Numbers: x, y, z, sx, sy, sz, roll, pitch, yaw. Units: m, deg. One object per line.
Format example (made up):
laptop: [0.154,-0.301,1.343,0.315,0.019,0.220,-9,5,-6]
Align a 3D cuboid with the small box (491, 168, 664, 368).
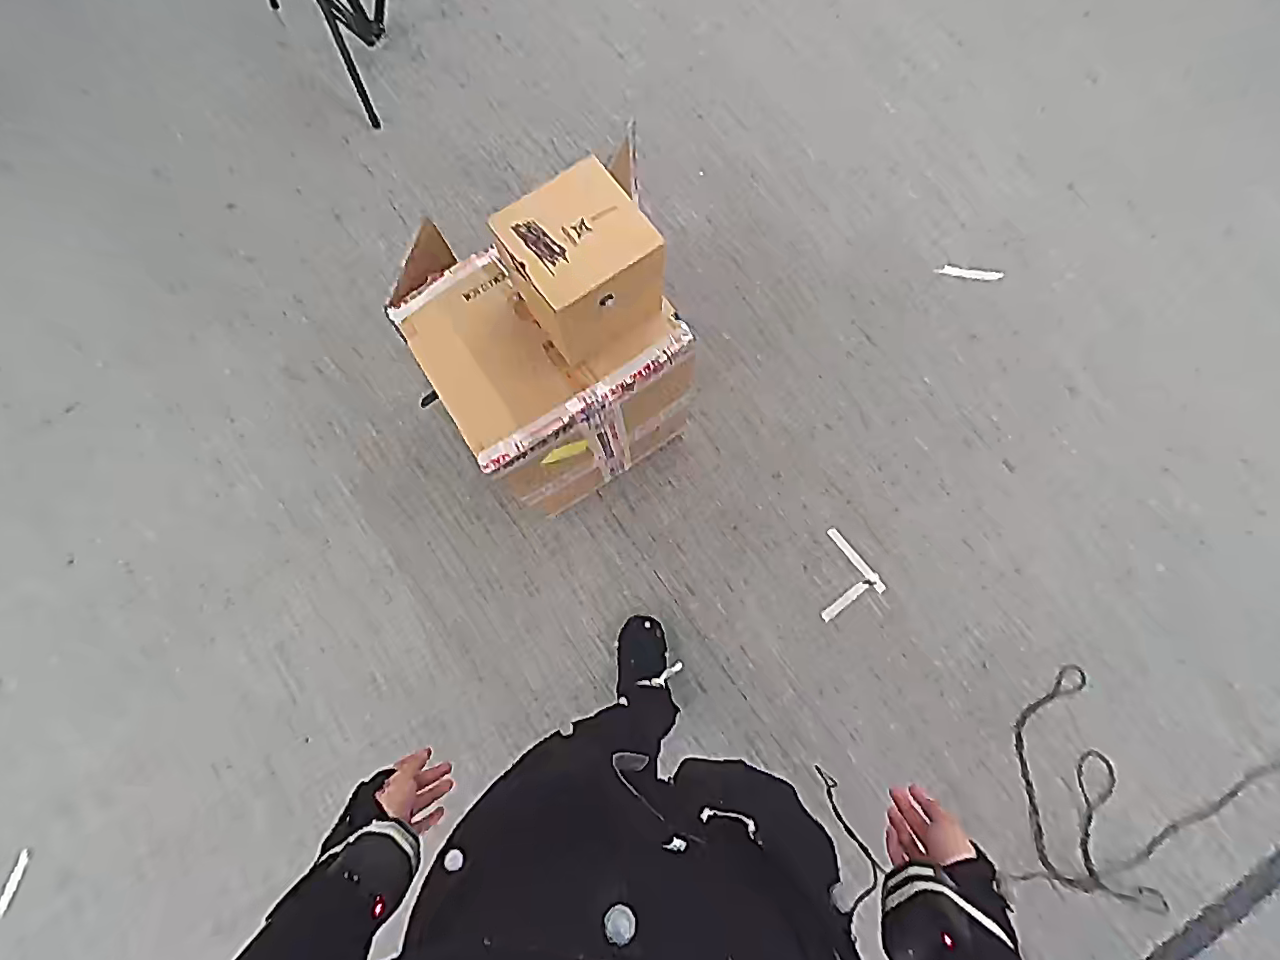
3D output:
small box: [-0.082,-0.294,0.785,0.179,0.176,0.168,-35,80,-8]
